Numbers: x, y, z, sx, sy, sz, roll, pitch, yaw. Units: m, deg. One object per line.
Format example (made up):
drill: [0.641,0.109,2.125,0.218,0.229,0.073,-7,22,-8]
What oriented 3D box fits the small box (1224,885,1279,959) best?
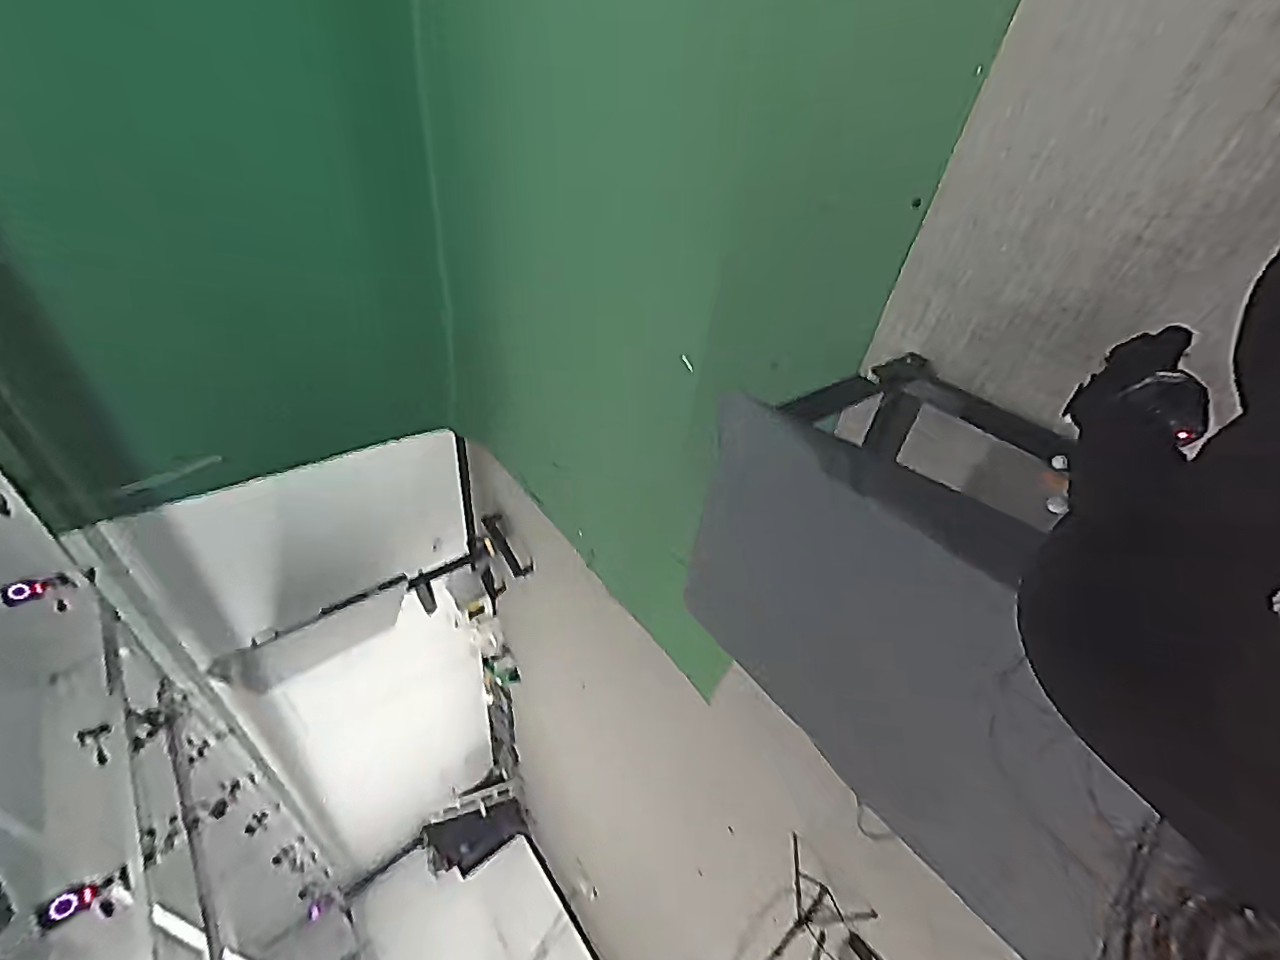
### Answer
small box: [0.763,0.548,0.558,0.179,0.176,0.168,40,138,34]
